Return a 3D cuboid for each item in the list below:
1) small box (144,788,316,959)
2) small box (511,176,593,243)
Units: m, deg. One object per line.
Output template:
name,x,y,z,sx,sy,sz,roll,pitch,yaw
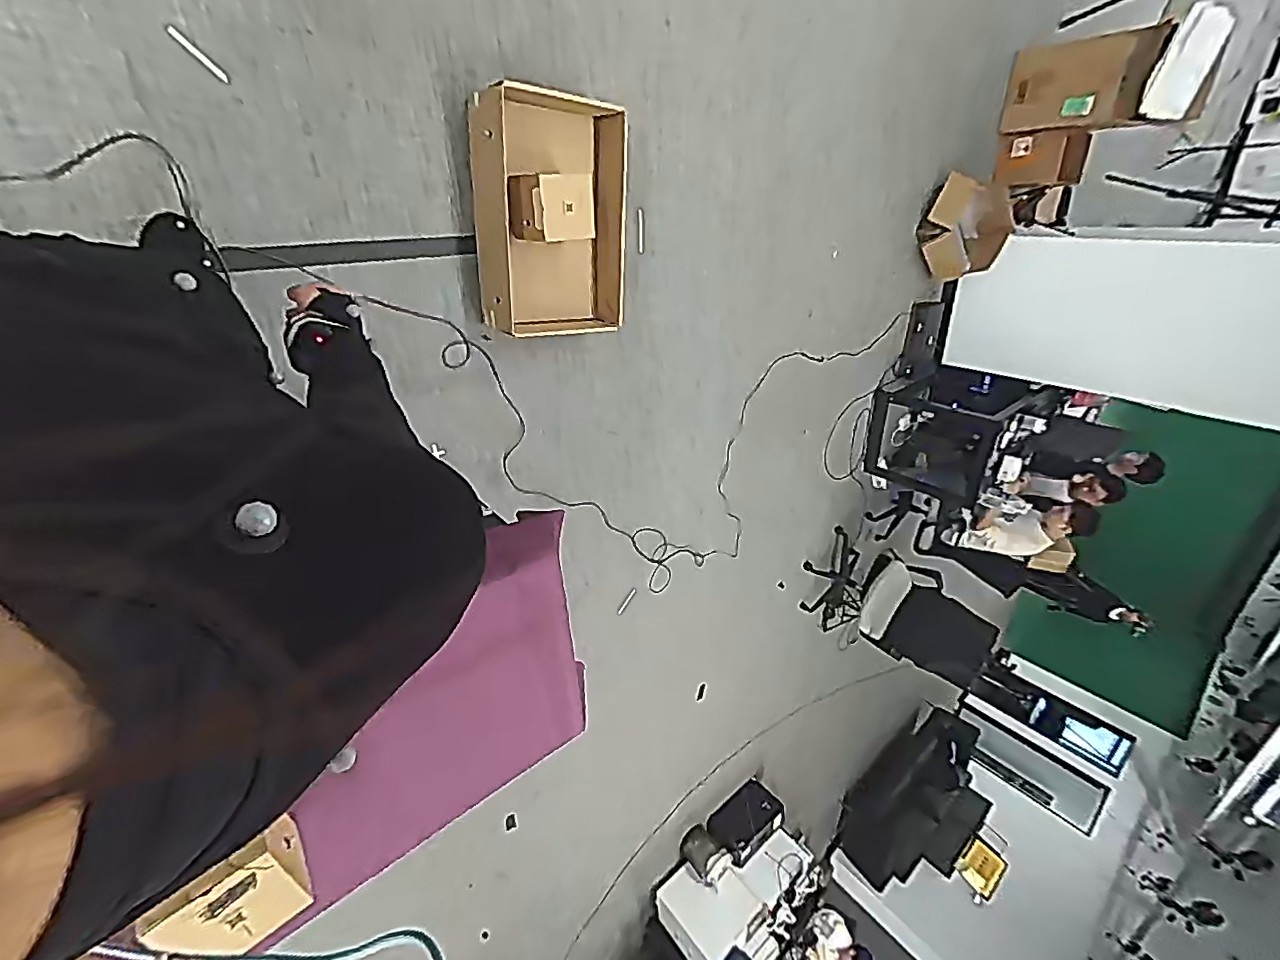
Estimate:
small box,-0.668,0.648,0.883,0.168,0.176,0.179,-28,127,-30
small box,-0.257,-0.776,1.551,0.179,0.176,0.168,-22,125,-34
